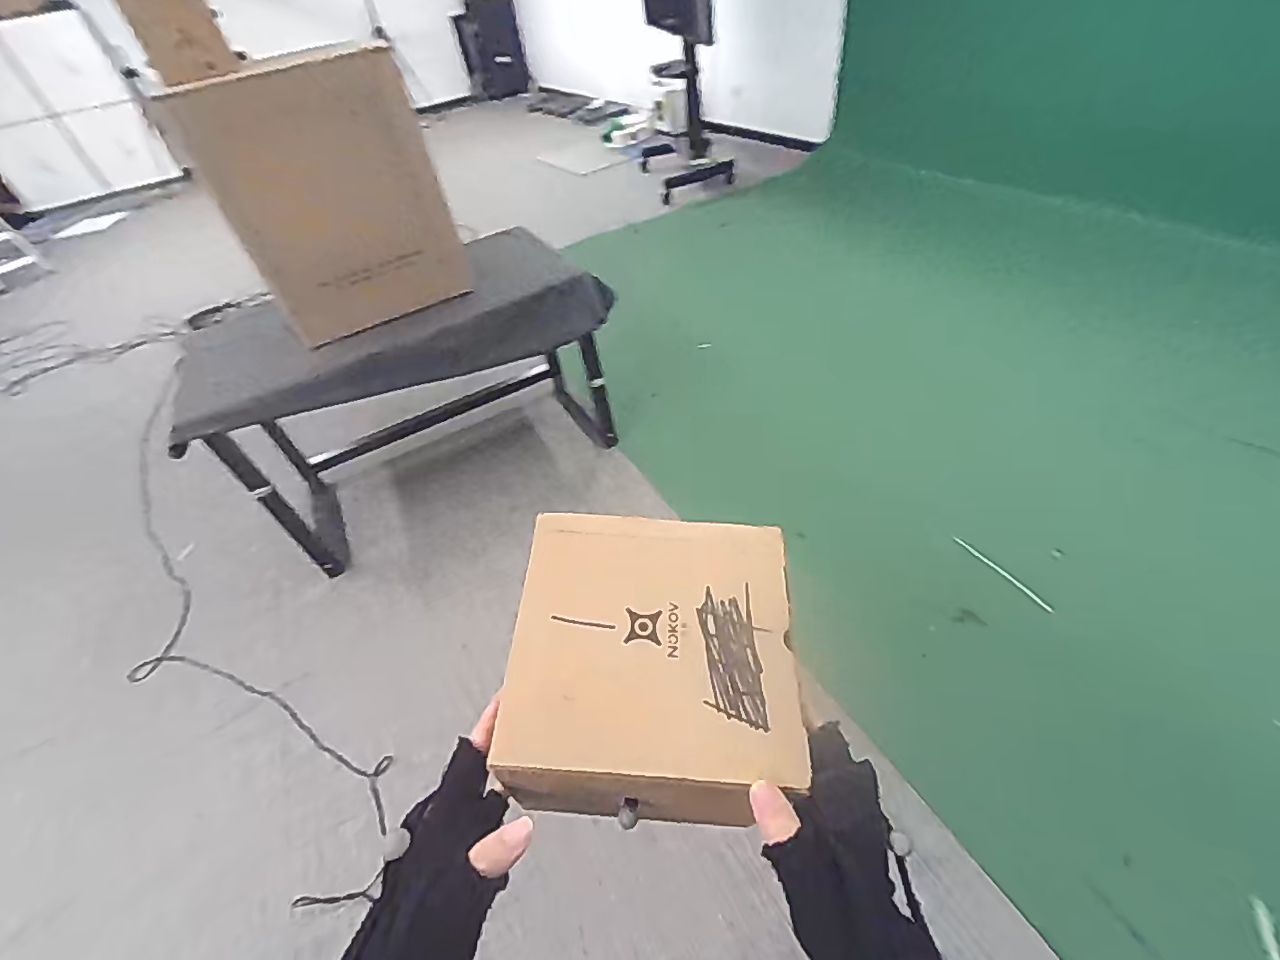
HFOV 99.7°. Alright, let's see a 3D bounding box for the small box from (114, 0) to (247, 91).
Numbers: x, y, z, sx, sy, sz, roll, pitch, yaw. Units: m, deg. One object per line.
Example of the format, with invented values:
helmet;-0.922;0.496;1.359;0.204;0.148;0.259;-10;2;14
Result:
small box;-1.014;-0.989;1.204;0.168;0.176;0.179;-28;49;-18
